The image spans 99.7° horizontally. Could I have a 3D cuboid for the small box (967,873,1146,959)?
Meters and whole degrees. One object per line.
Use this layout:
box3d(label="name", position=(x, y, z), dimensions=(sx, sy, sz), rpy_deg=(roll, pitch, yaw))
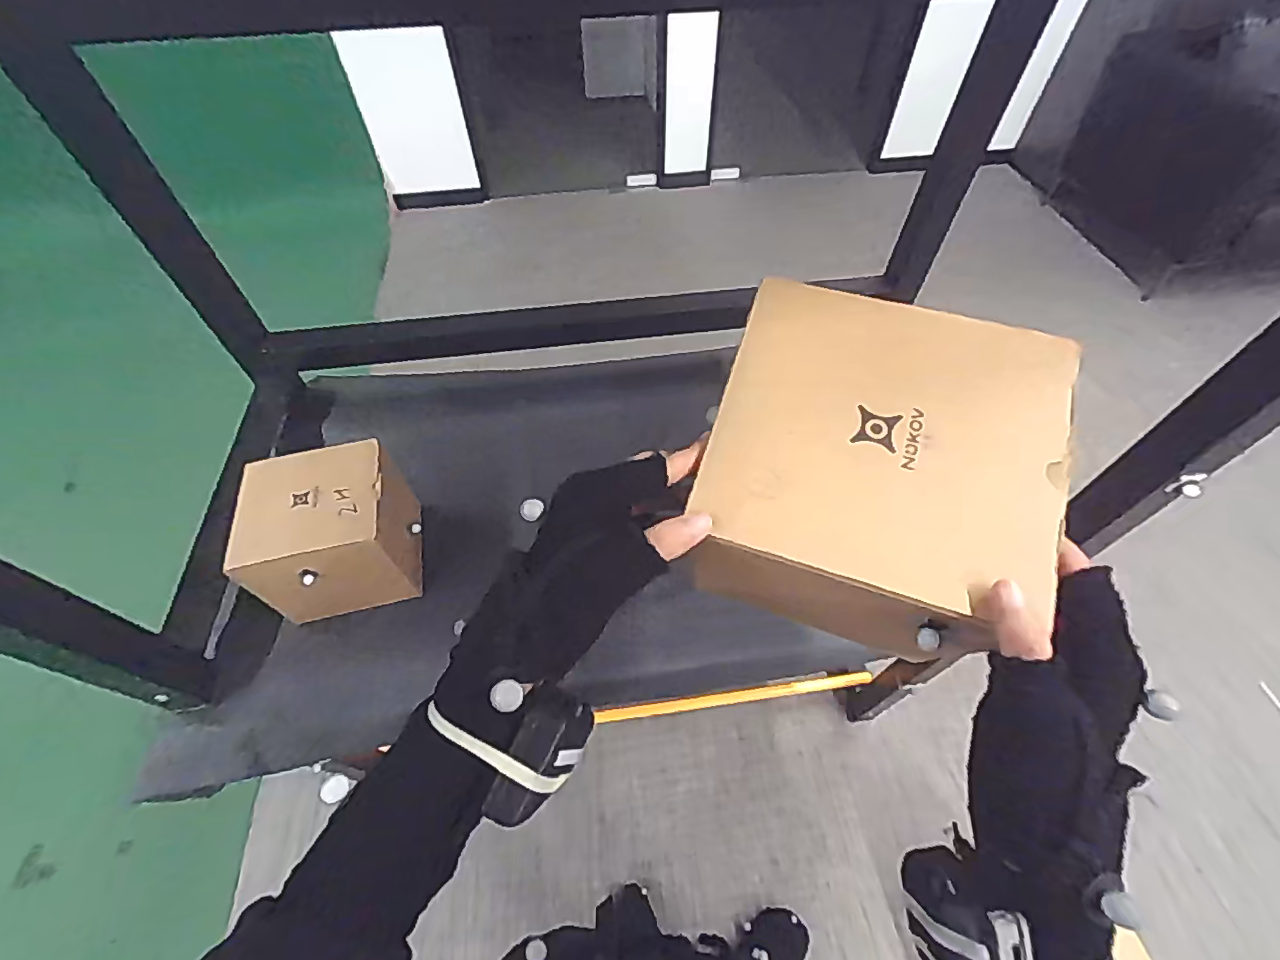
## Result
box3d(label="small box", position=(0.702, 0.783, 0.911), dimensions=(0.168, 0.176, 0.179), rpy_deg=(-9, 53, -5))

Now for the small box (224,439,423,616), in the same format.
box3d(label="small box", position=(-0.418, 0.071, 0.748), dimensions=(0.179, 0.176, 0.168), rpy_deg=(-11, 55, -8))
